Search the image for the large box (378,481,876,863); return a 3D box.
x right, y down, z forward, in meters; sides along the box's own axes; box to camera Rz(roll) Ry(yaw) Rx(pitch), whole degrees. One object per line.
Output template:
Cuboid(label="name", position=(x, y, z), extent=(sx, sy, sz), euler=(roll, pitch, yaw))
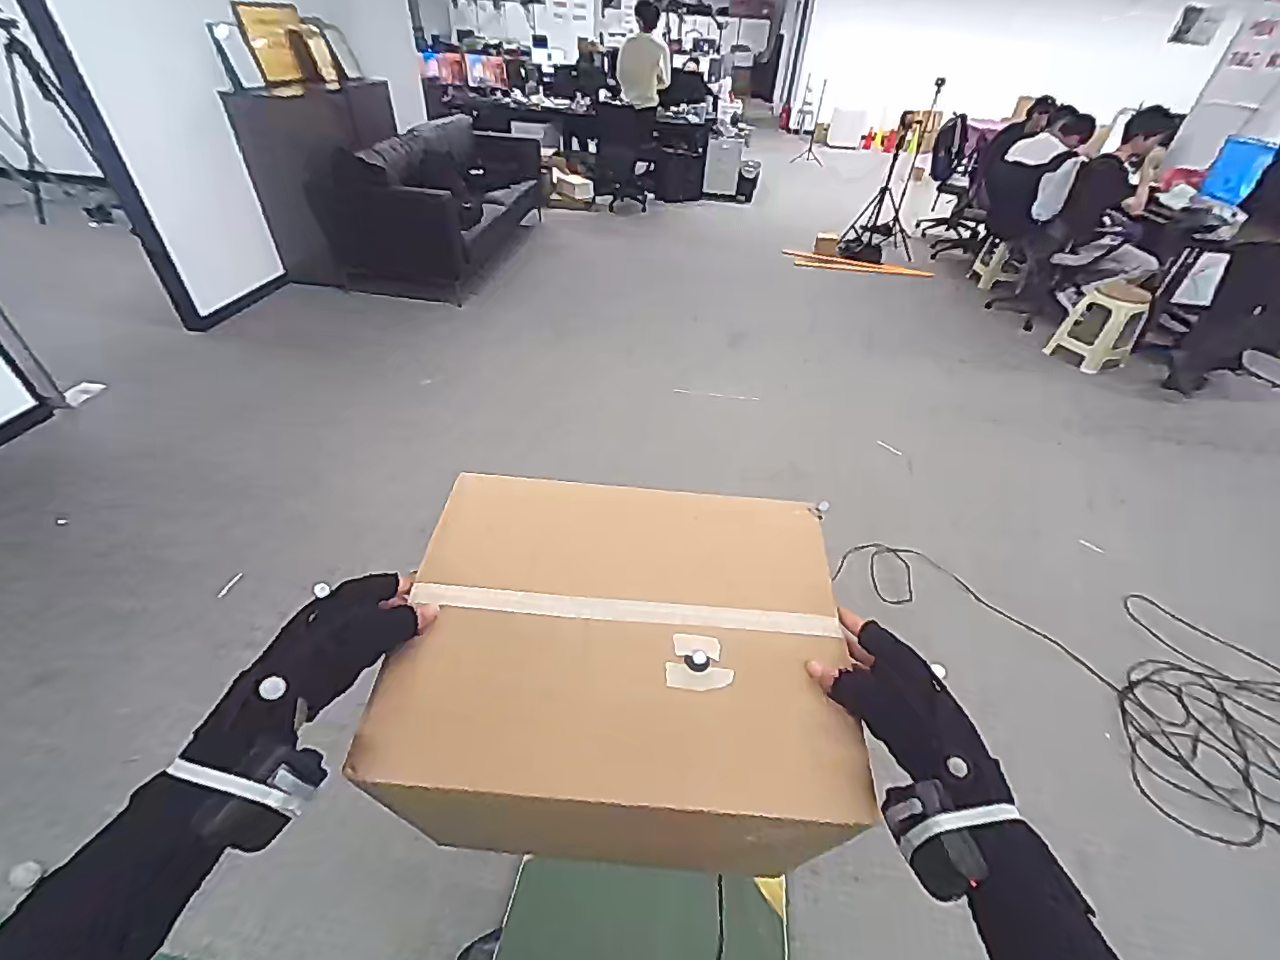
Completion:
Cuboid(label="large box", position=(-0.013, 0.228, 0.631), extent=(0.408, 0.320, 0.320), euler=(5, 48, -1))
